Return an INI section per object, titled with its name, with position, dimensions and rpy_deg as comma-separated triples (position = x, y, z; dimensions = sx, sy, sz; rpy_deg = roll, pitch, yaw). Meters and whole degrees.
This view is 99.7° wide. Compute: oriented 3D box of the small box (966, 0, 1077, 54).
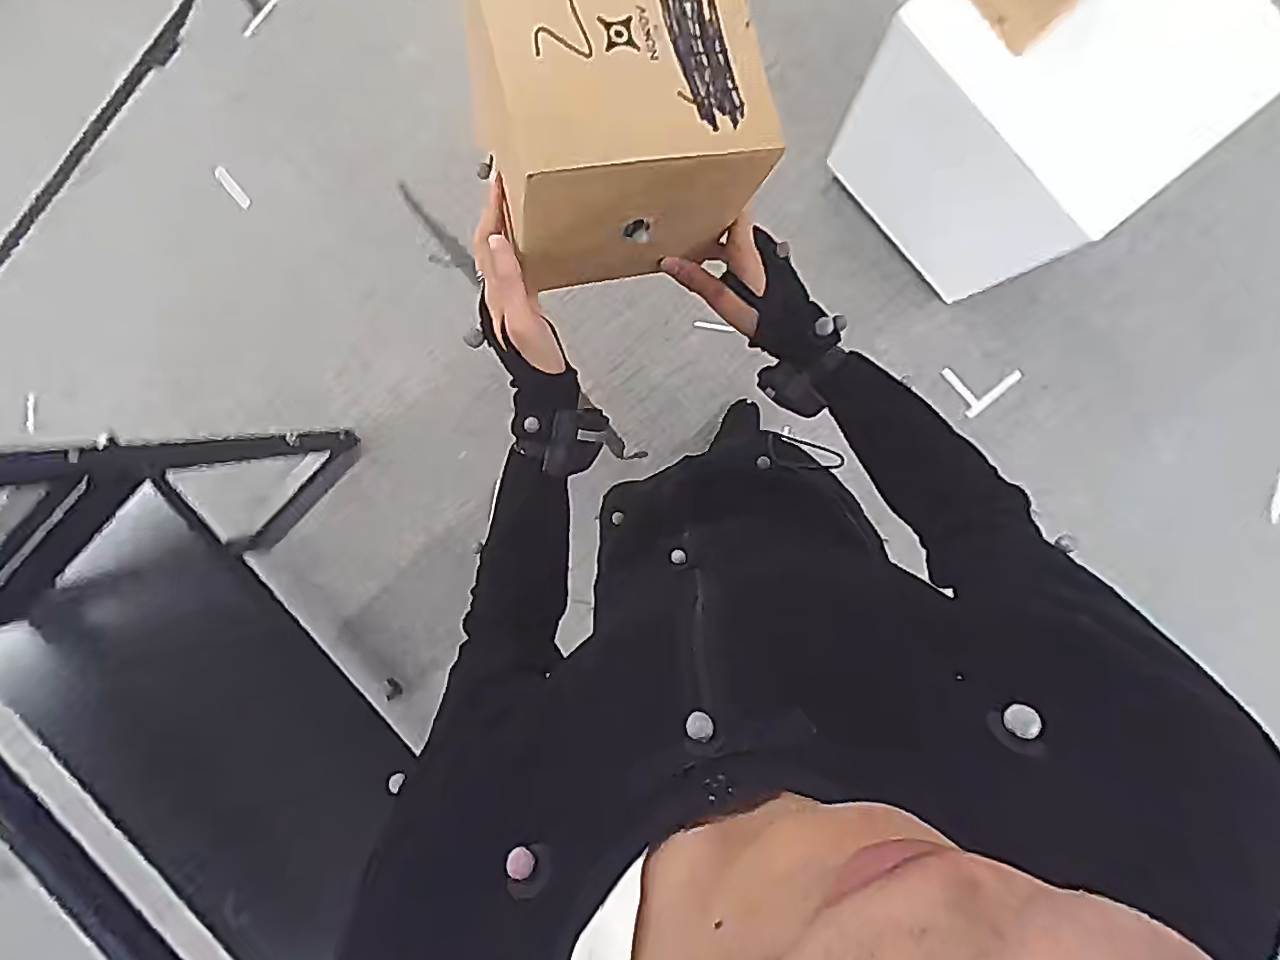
[small box]
position = 0.613, -0.799, 0.799
dimensions = 0.179, 0.176, 0.168
rpy_deg = -41, 92, 9
